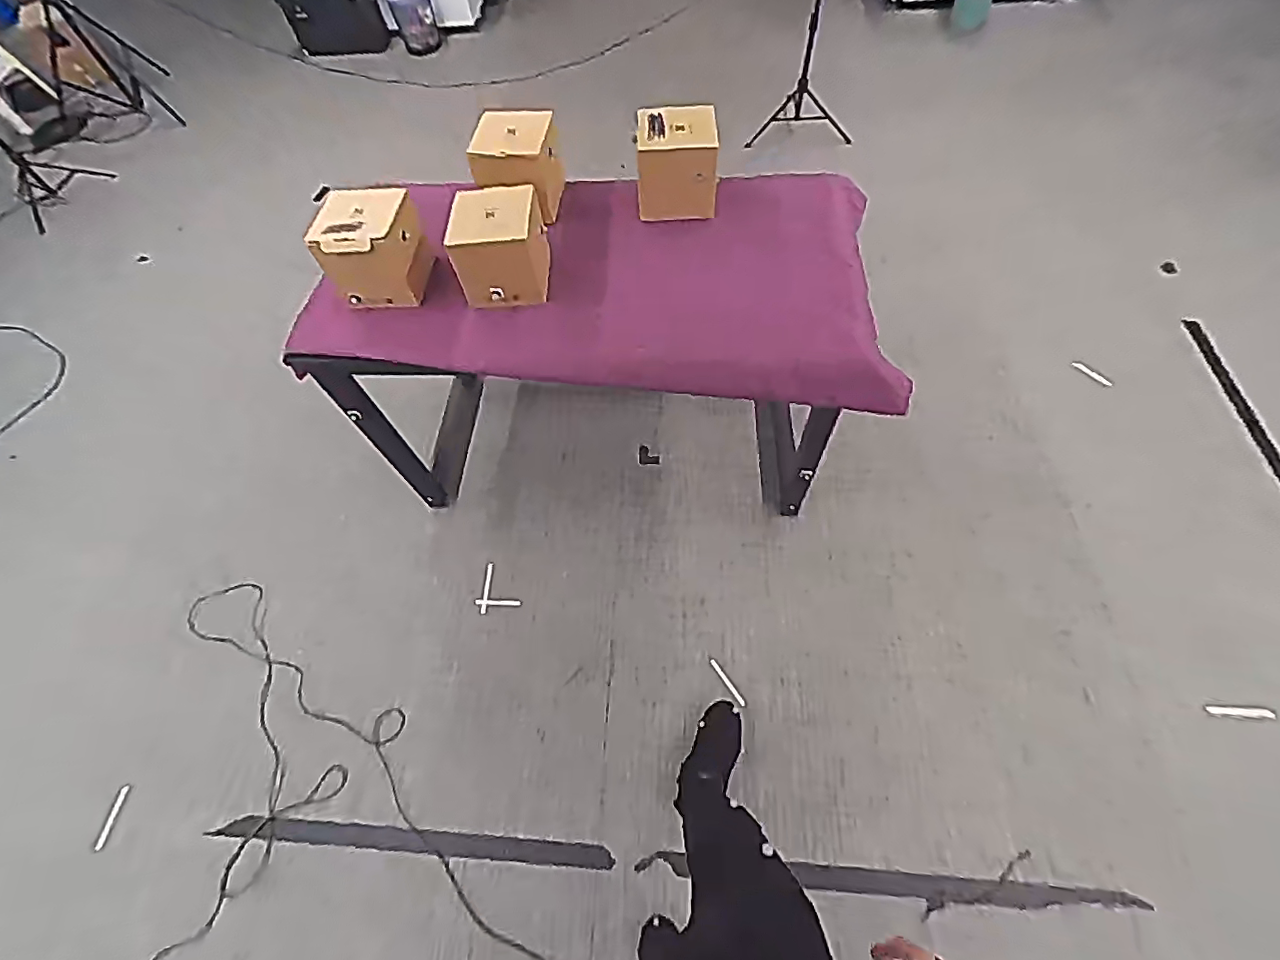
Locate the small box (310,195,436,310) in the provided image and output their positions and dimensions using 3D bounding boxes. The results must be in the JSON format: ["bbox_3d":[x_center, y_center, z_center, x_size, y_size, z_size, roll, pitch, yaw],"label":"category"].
[{"bbox_3d":[-0.563,-0.484,1.169,0.168,0.176,0.179,0,59,4],"label":"small box"}]

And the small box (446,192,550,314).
[{"bbox_3d":[-0.290,-0.478,1.148,0.168,0.176,0.179,-3,60,3],"label":"small box"}]

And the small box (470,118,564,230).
[{"bbox_3d":[-0.282,-0.725,1.285,0.168,0.176,0.179,3,61,6],"label":"small box"}]
